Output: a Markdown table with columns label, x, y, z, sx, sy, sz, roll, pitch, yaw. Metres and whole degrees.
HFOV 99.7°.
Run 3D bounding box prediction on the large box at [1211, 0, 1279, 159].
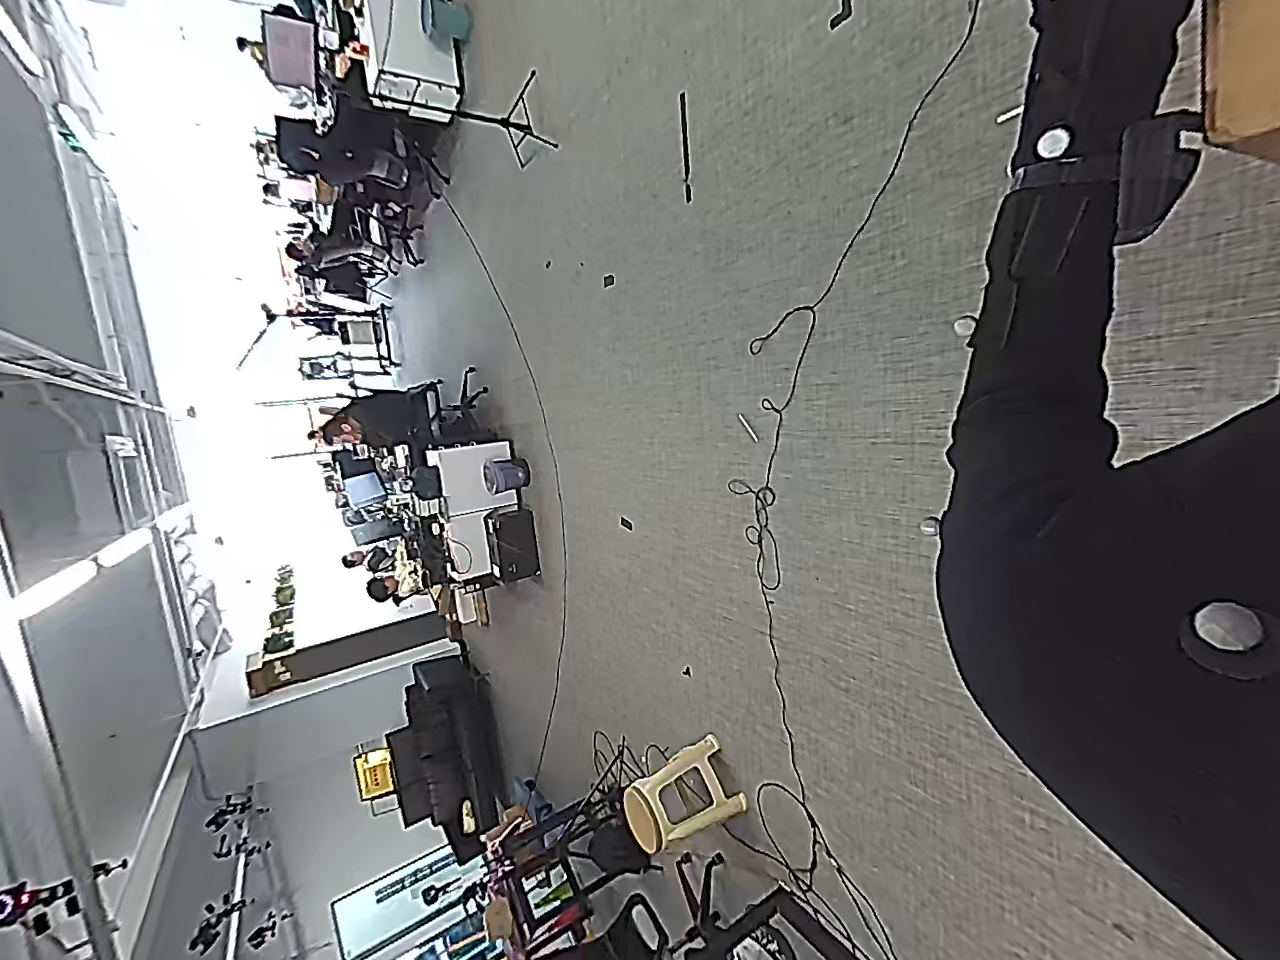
| label | x | y | z | sx | sy | sz | roll | pitch | yaw |
| --- | --- | --- | --- | --- | --- | --- | --- | --- | --- |
| large box | 0.534 | -0.377 | 0.209 | 0.408 | 0.320 | 0.320 | 5 | 111 | 54 |
